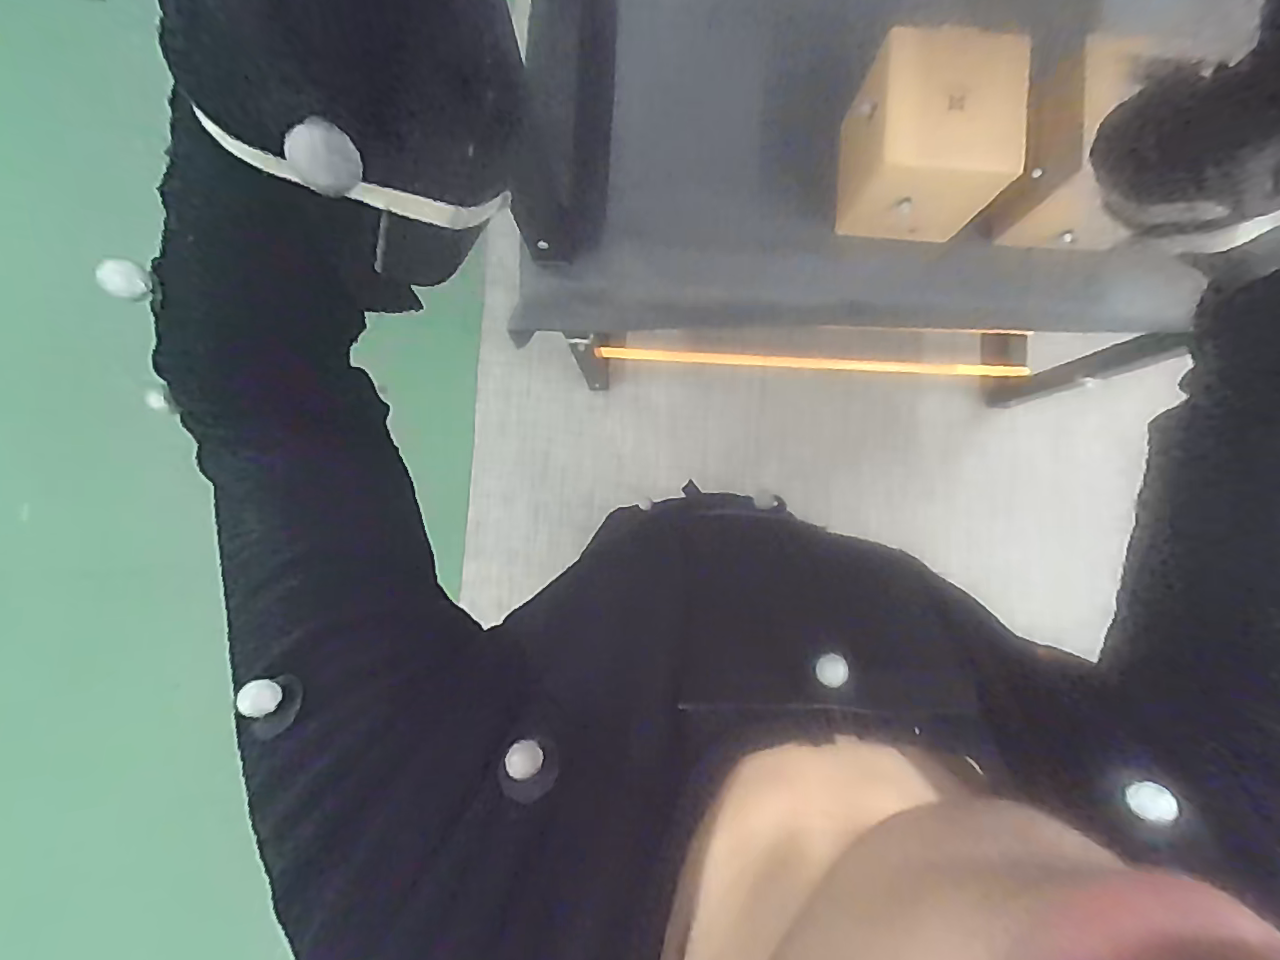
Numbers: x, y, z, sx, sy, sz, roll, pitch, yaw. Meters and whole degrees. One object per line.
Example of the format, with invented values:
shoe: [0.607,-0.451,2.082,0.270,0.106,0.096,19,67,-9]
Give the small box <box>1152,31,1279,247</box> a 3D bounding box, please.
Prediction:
small box: [0.825,-0.430,0.706,0.168,0.176,0.179,6,85,1]

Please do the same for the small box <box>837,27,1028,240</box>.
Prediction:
small box: [0.373,-0.444,0.718,0.168,0.176,0.179,5,85,2]
